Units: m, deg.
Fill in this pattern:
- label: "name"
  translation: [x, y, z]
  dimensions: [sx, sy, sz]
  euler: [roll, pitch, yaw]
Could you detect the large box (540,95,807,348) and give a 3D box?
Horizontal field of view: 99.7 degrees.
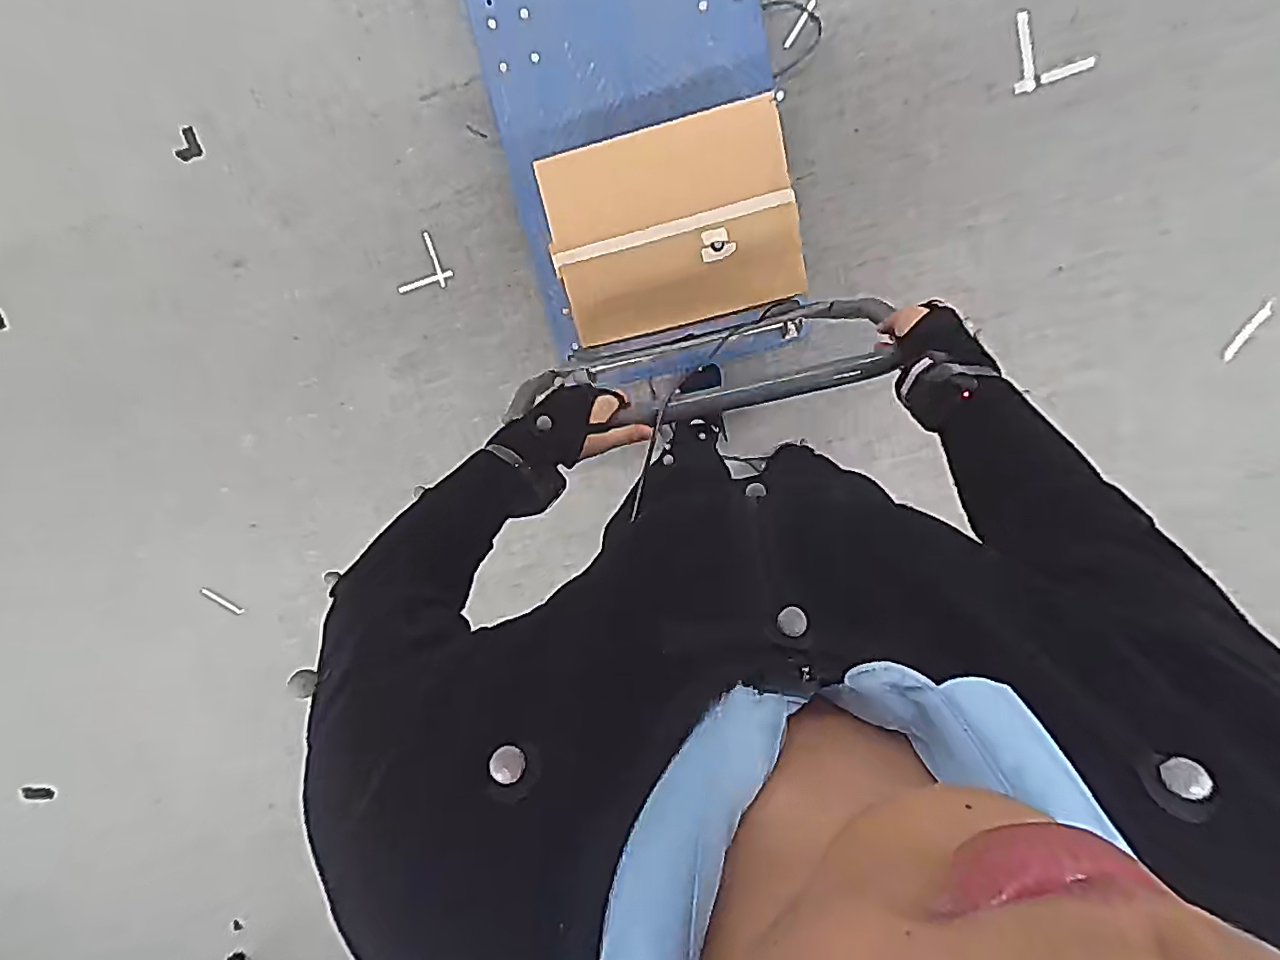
- label: "large box"
  translation: [0.065, -0.461, 1.059]
  dimensions: [0.408, 0.320, 0.320]
  euler: [-13, 104, 6]
